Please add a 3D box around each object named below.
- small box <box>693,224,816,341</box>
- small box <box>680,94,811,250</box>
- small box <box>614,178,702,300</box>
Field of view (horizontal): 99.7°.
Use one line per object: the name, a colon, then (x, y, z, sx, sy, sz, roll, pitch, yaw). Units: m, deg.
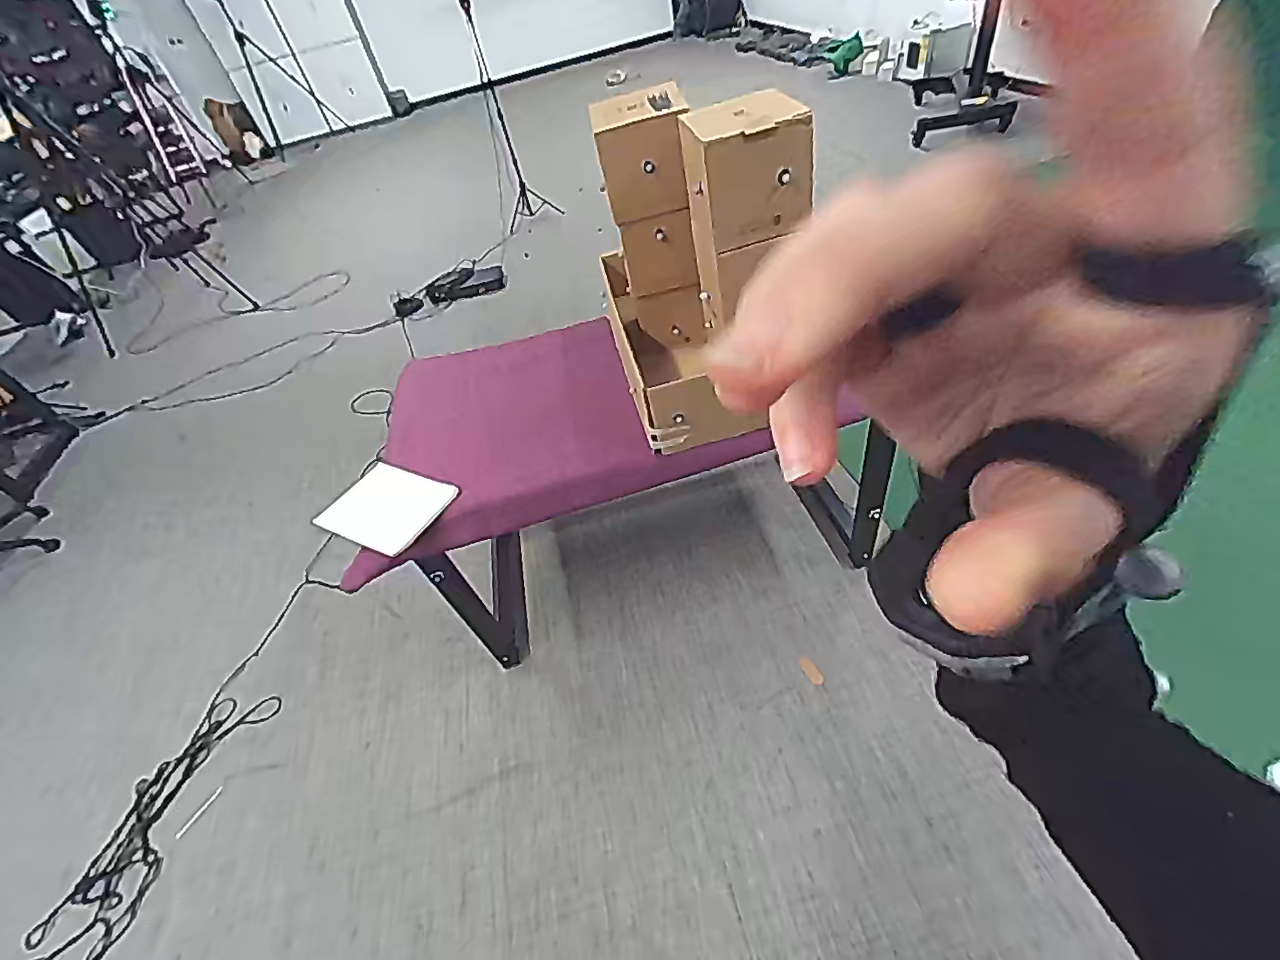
small box: (0.211, -0.387, 1.003, 0.179, 0.176, 0.168, -16, 45, 3)
small box: (0.174, -0.501, 0.891, 0.168, 0.176, 0.179, -15, 45, 2)
small box: (0.050, -0.521, 1.177, 0.179, 0.176, 0.168, -12, 49, 4)
